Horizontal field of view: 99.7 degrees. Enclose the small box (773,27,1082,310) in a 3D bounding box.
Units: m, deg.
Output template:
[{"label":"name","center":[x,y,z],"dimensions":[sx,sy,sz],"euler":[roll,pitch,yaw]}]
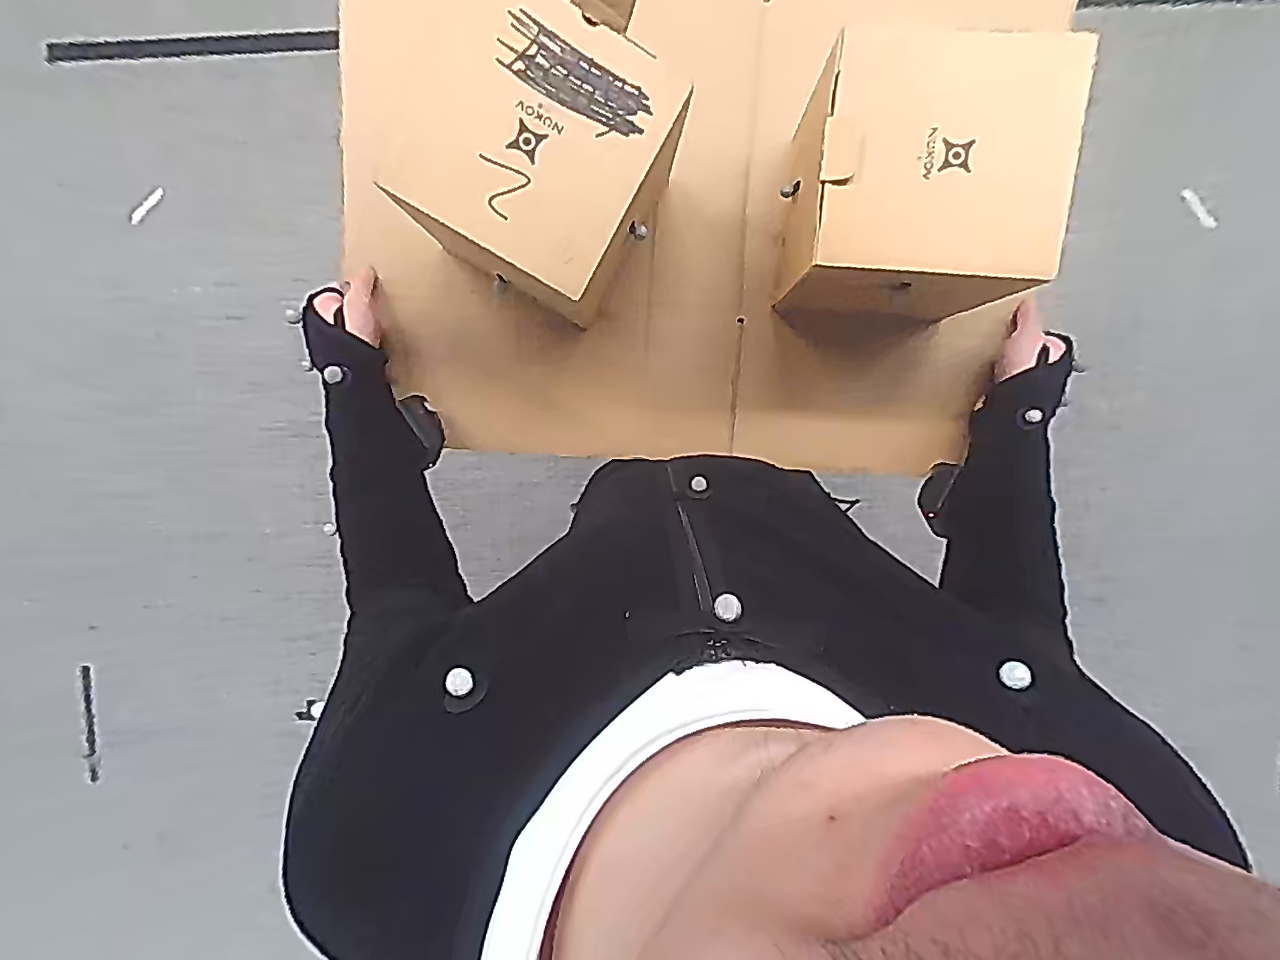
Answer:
[{"label":"small box","center":[0.228,-0.252,0.480],"dimensions":[0.179,0.176,0.168],"euler":[5,98,3]}]
